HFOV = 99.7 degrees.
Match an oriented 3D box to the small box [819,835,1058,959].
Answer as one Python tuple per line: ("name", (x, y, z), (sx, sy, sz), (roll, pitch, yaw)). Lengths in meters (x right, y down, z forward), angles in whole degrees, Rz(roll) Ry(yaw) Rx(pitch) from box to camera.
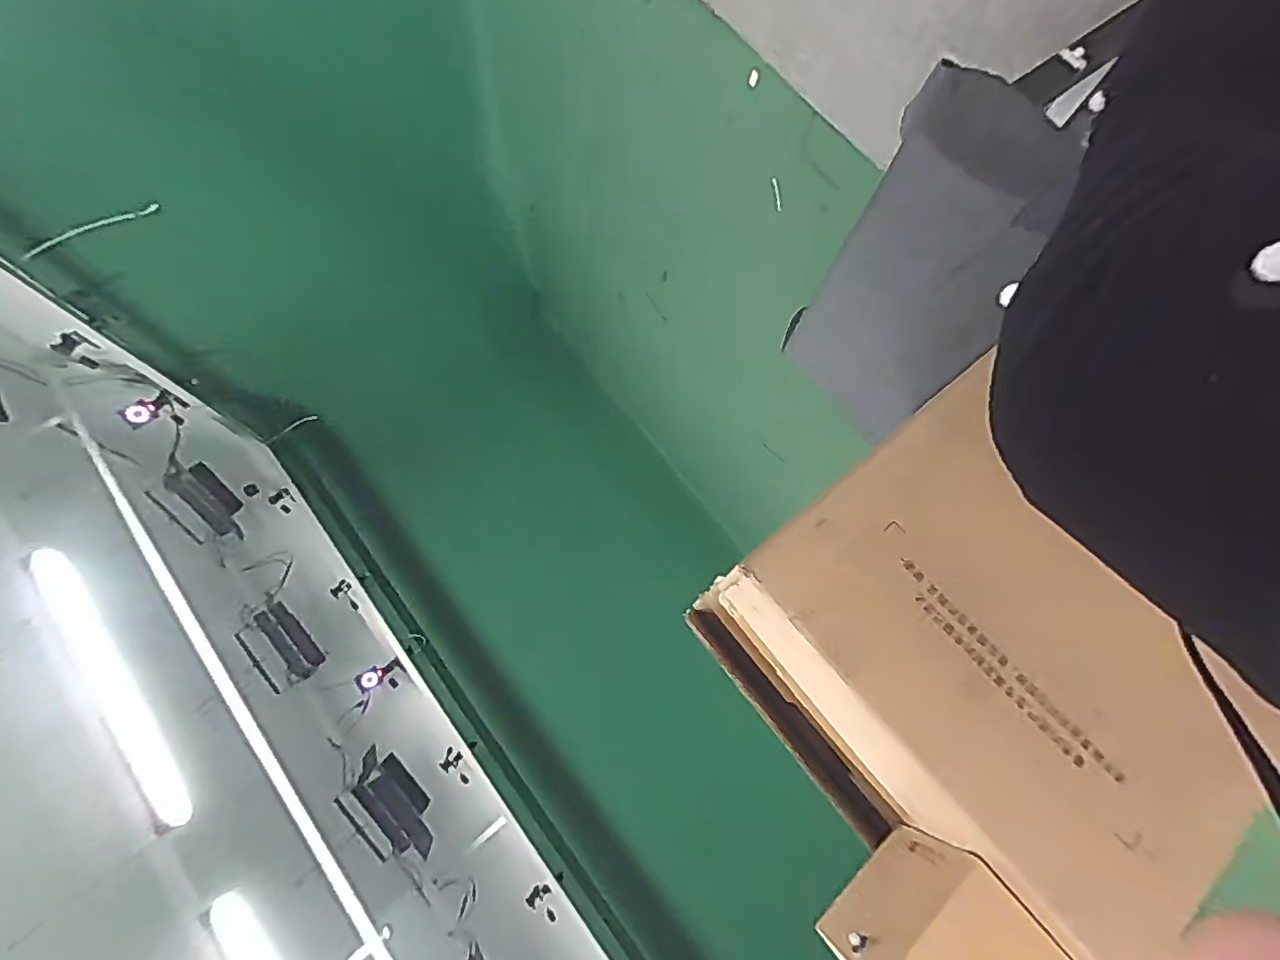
("small box", (0.336, 0.534, 0.578), (0.179, 0.176, 0.168), (47, 161, 15))
